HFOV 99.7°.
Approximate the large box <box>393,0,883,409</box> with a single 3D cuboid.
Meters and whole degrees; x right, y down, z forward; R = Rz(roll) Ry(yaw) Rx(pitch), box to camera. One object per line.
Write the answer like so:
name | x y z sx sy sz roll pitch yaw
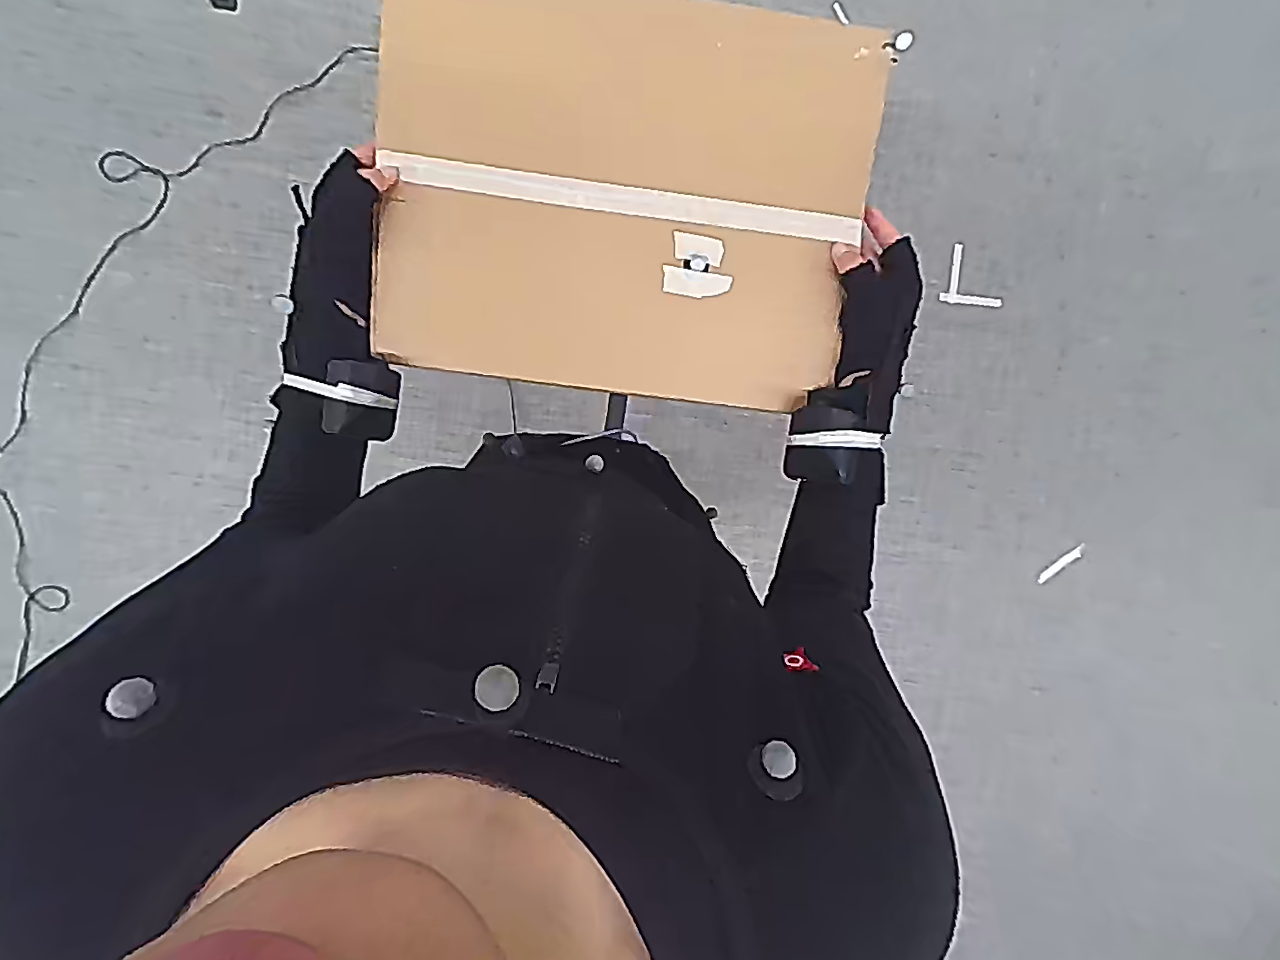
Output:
large box | -0.016 -0.260 0.612 0.408 0.320 0.320 6 101 -4
